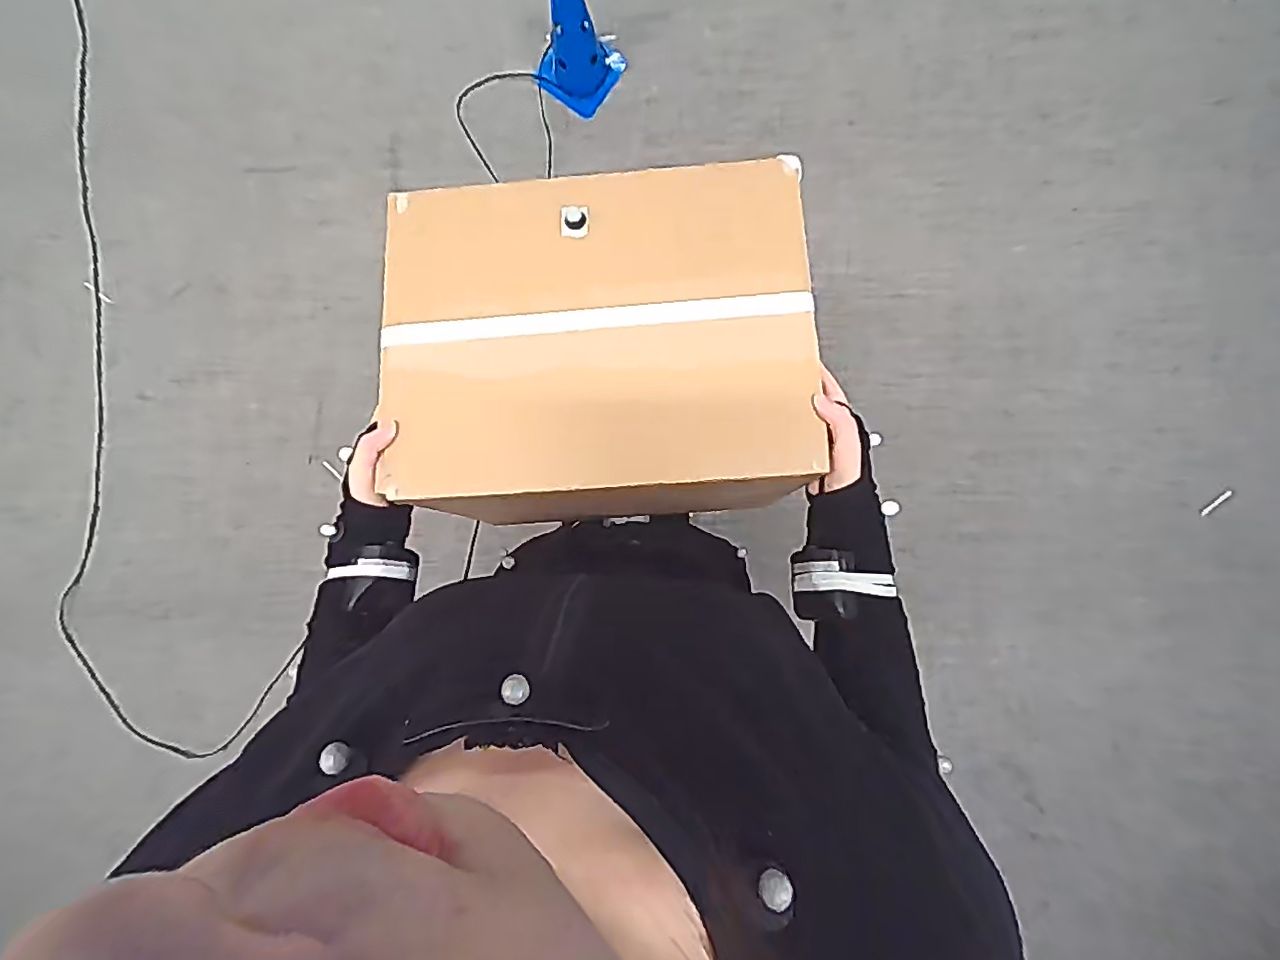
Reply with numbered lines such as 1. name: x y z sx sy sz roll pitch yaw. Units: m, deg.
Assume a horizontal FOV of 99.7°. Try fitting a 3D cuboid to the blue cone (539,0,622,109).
1. blue cone: -0.164 -1.127 1.303 0.192 0.380 0.193 33 91 0
